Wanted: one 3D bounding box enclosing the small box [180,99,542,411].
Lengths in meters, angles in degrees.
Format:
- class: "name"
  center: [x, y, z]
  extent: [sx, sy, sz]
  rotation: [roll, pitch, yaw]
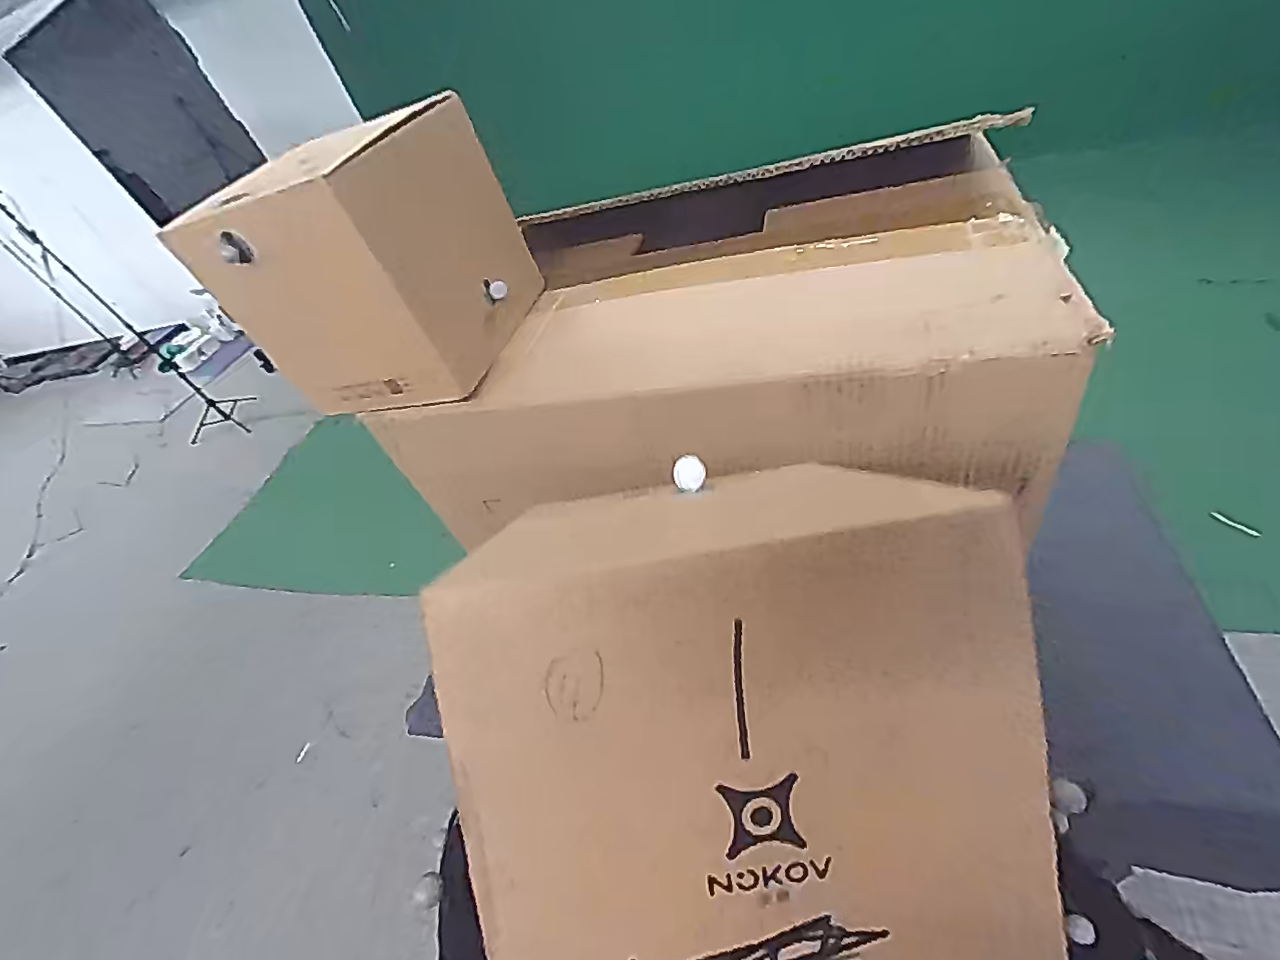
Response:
- class: "small box"
  center: [-0.204, -0.180, 0.454]
  extent: [0.168, 0.176, 0.179]
  rotation: [-3, 46, 24]
